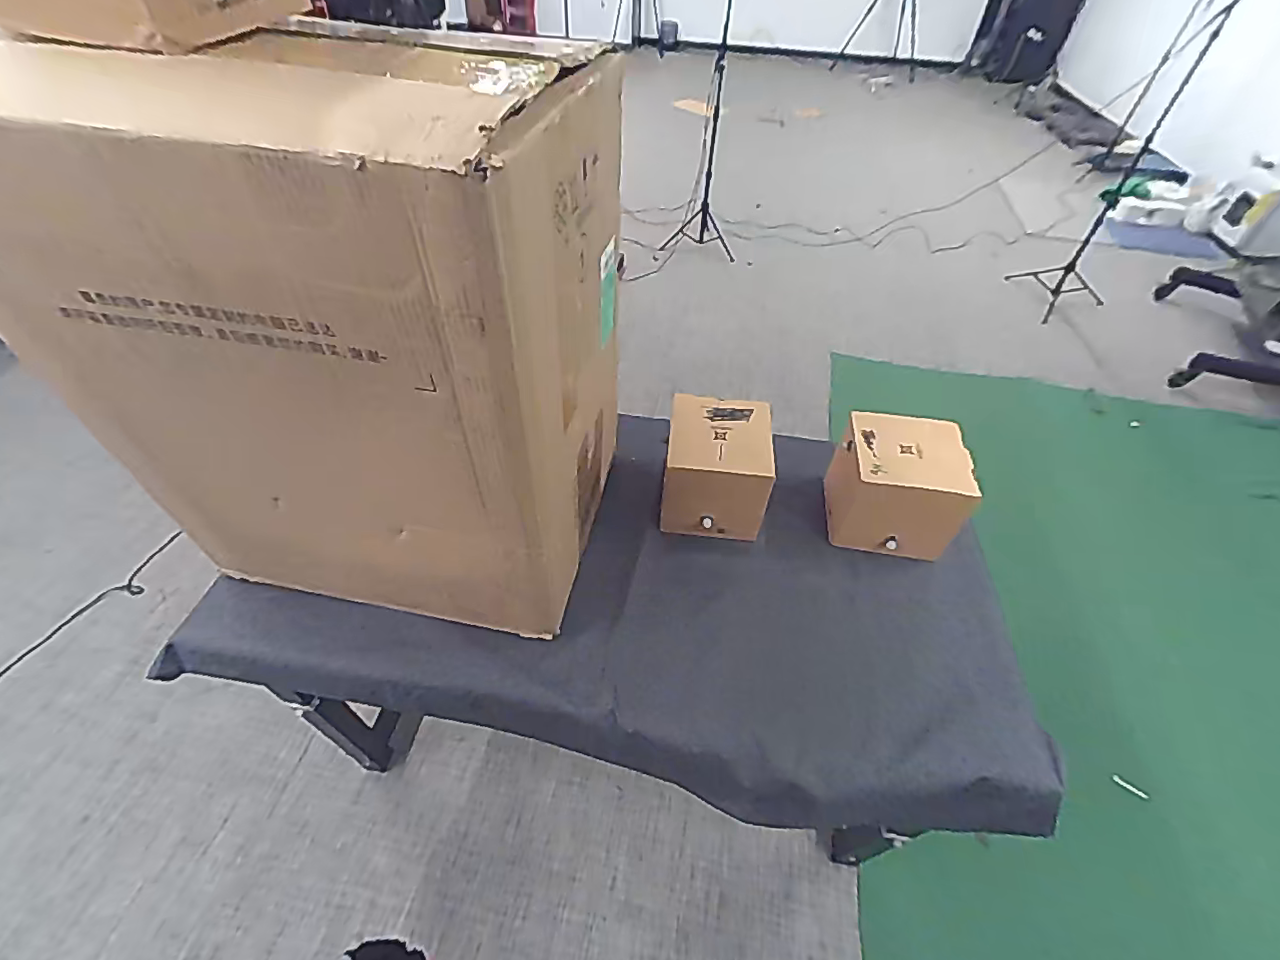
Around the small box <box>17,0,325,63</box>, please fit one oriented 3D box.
[{"bbox_3d":[-0.399,-0.455,0.423,0.179,0.176,0.168,15,54,8],"label":"small box"}]

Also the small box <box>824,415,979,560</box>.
[{"bbox_3d":[0.429,0.016,0.918,0.179,0.176,0.168,9,47,5],"label":"small box"}]
